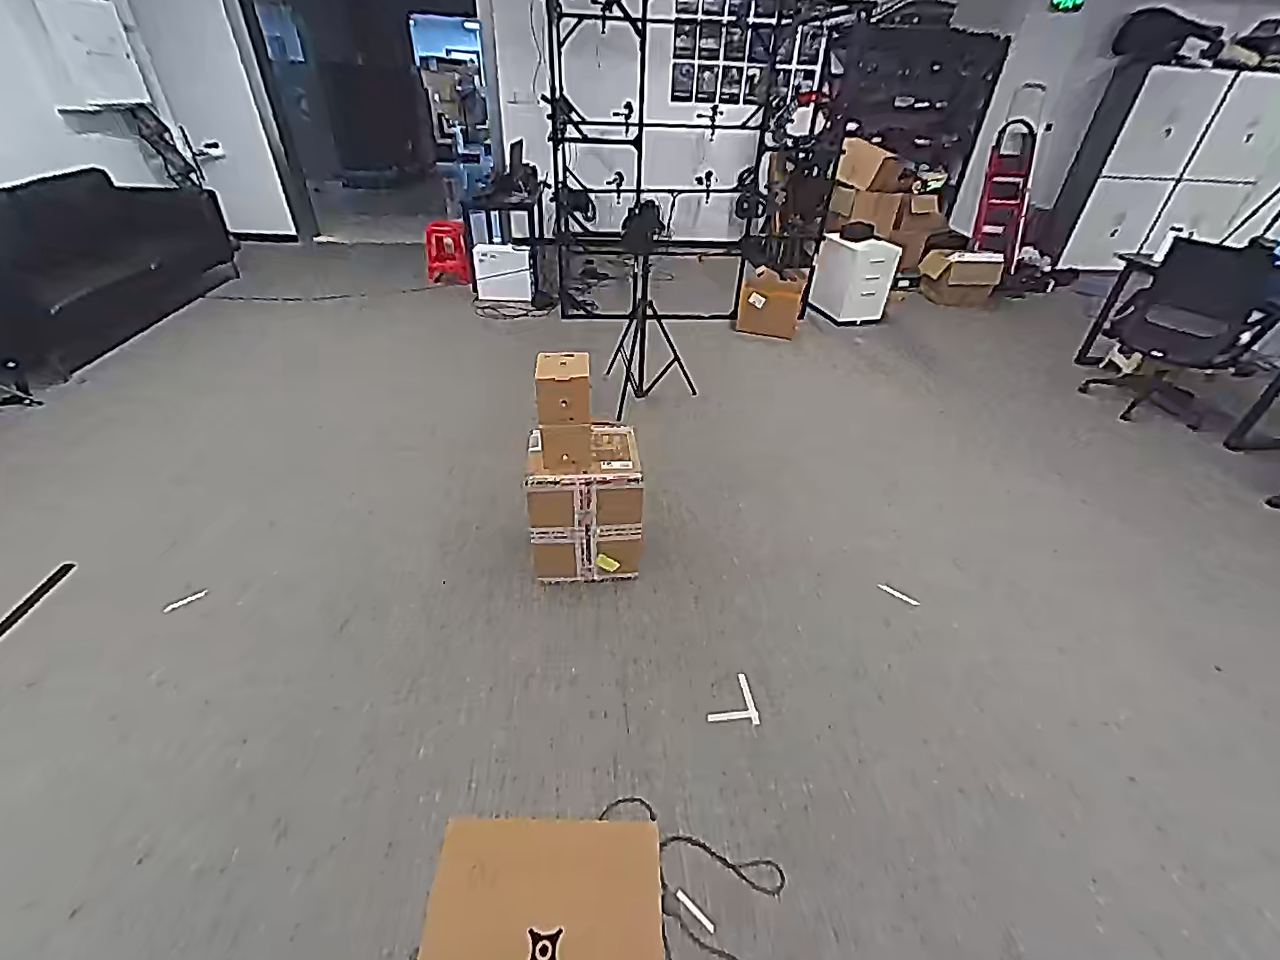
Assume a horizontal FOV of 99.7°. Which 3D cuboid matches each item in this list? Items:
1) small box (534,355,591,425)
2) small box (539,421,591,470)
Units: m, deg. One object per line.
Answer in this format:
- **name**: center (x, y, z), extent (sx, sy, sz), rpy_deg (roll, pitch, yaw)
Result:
- **small box**: center (-0.245, -0.288, 1.746), extent (0.168, 0.176, 0.179), rpy_deg (-2, 40, -5)
- **small box**: center (-0.252, -0.151, 1.838), extent (0.168, 0.176, 0.179), rpy_deg (-3, 40, -6)
